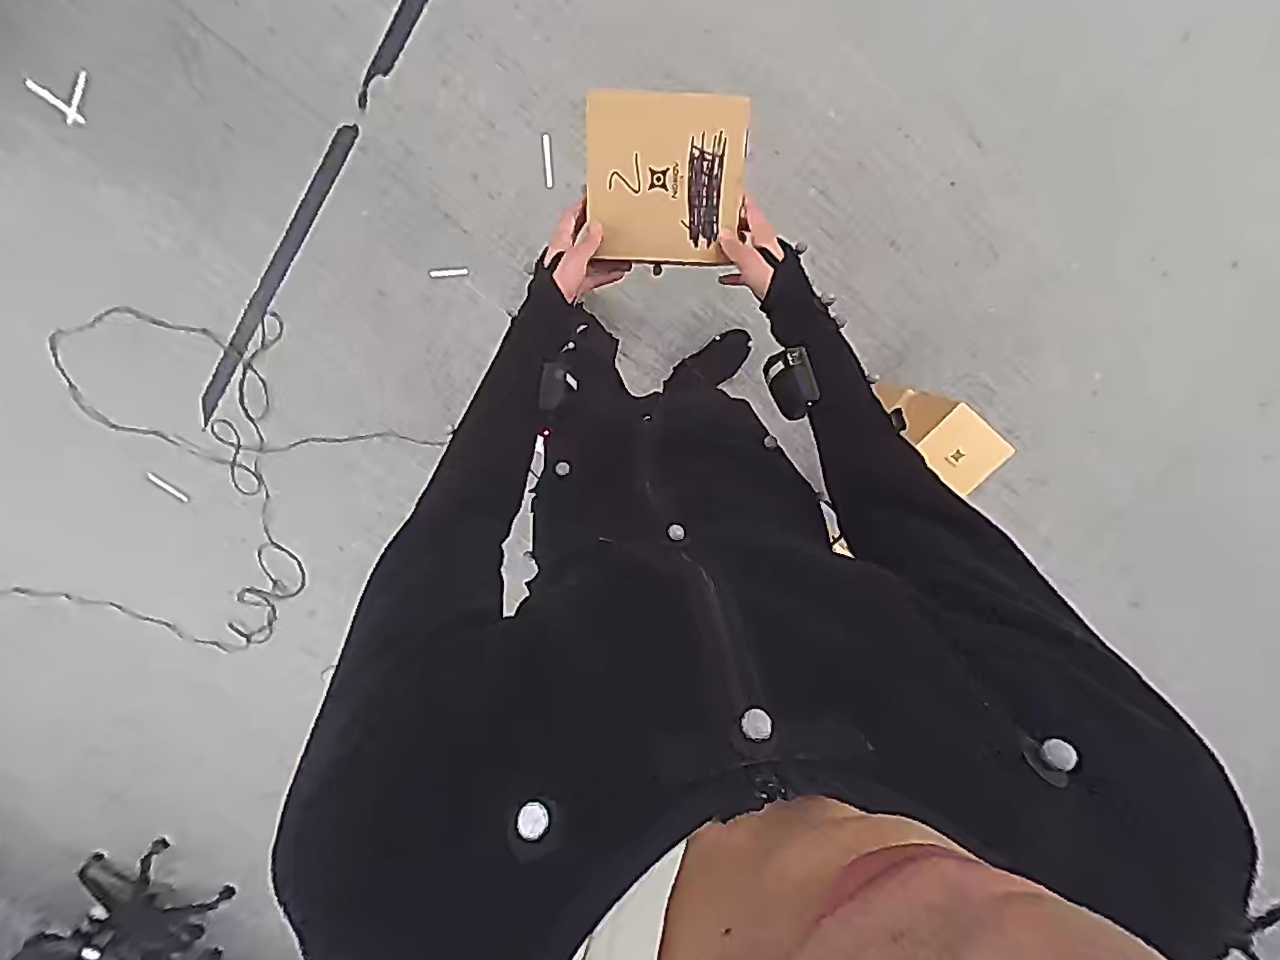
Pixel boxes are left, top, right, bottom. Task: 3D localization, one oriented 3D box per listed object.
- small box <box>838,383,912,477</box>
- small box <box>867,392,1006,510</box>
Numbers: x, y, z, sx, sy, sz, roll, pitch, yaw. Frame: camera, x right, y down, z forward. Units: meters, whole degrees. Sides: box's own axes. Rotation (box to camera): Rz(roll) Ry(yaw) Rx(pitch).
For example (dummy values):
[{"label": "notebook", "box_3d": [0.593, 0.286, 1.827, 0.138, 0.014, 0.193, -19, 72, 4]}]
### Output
[{"label": "small box", "box_3d": [0.632, -0.126, 1.349, 0.179, 0.176, 0.168, 33, 107, -9]}, {"label": "small box", "box_3d": [0.641, -0.072, 1.195, 0.168, 0.176, 0.179, 38, 107, -11]}]
